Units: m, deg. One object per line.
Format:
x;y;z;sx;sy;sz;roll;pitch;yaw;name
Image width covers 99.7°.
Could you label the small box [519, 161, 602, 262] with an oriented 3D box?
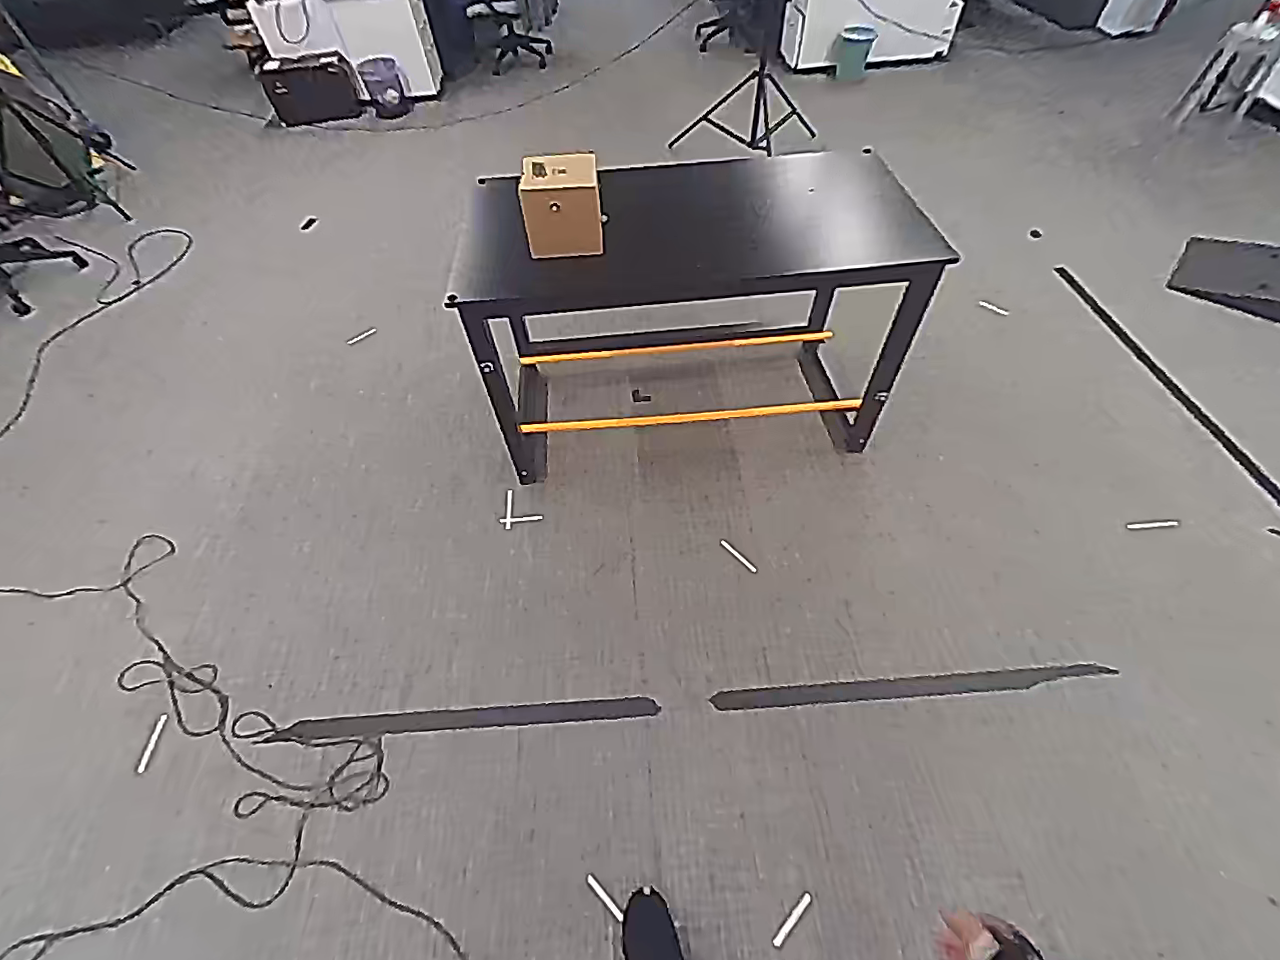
-0.188;-0.656;1.330;0.179;0.176;0.168;-4;53;-1;small box
